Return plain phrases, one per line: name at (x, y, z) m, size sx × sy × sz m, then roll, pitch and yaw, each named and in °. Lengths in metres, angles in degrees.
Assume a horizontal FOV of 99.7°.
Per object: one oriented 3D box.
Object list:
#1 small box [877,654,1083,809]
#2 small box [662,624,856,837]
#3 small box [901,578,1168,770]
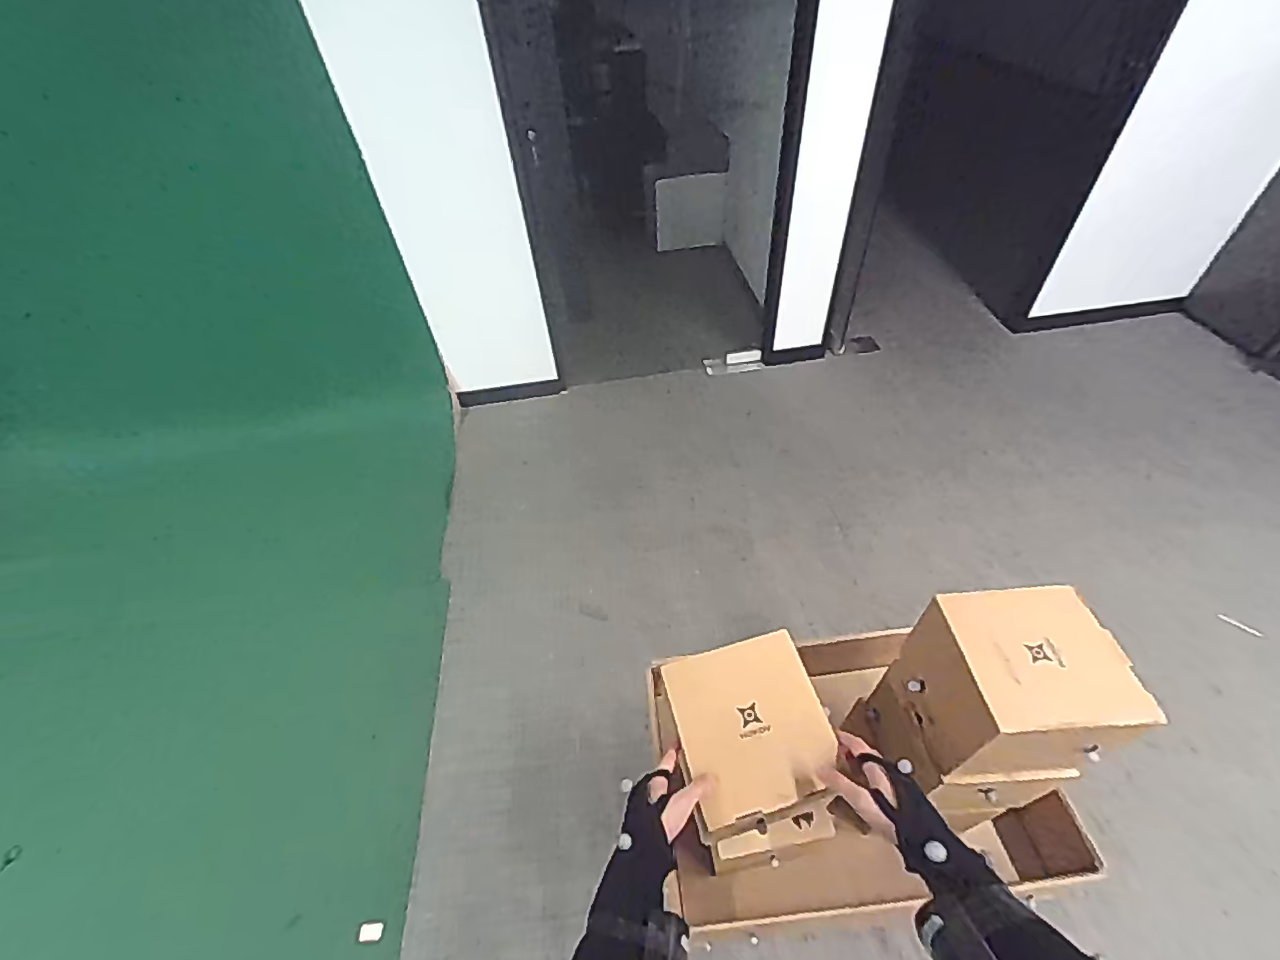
small box at (0.458, 0.356, 0.771) m, size 0.179 × 0.176 × 0.168 m, roll -4°, pitch 47°, yaw 1°
small box at (0.128, 0.306, 0.658) m, size 0.168 × 0.176 × 0.179 m, roll -15°, pitch 53°, yaw -6°
small box at (0.452, 0.239, 0.659) m, size 0.179 × 0.176 × 0.168 m, roll -5°, pitch 46°, yaw 2°
